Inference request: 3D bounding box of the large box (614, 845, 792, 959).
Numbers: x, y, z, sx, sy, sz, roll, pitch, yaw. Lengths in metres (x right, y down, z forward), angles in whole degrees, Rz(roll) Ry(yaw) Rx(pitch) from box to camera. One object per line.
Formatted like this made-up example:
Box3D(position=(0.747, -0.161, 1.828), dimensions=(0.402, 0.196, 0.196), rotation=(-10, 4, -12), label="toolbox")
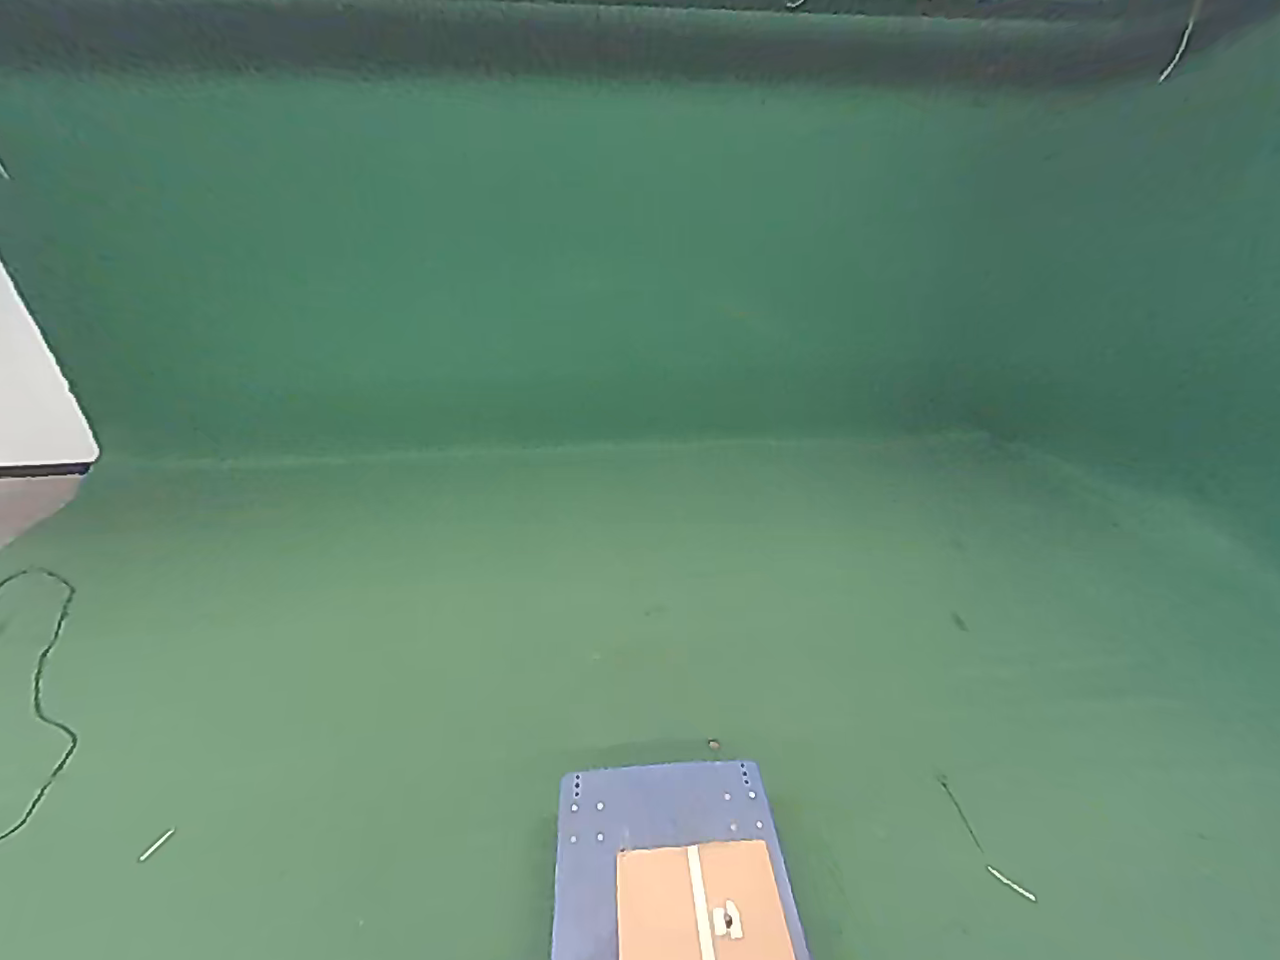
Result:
Box3D(position=(0.120, 0.990, 1.007), dimensions=(0.320, 0.320, 0.408), rotation=(-2, 28, -4), label="large box")
